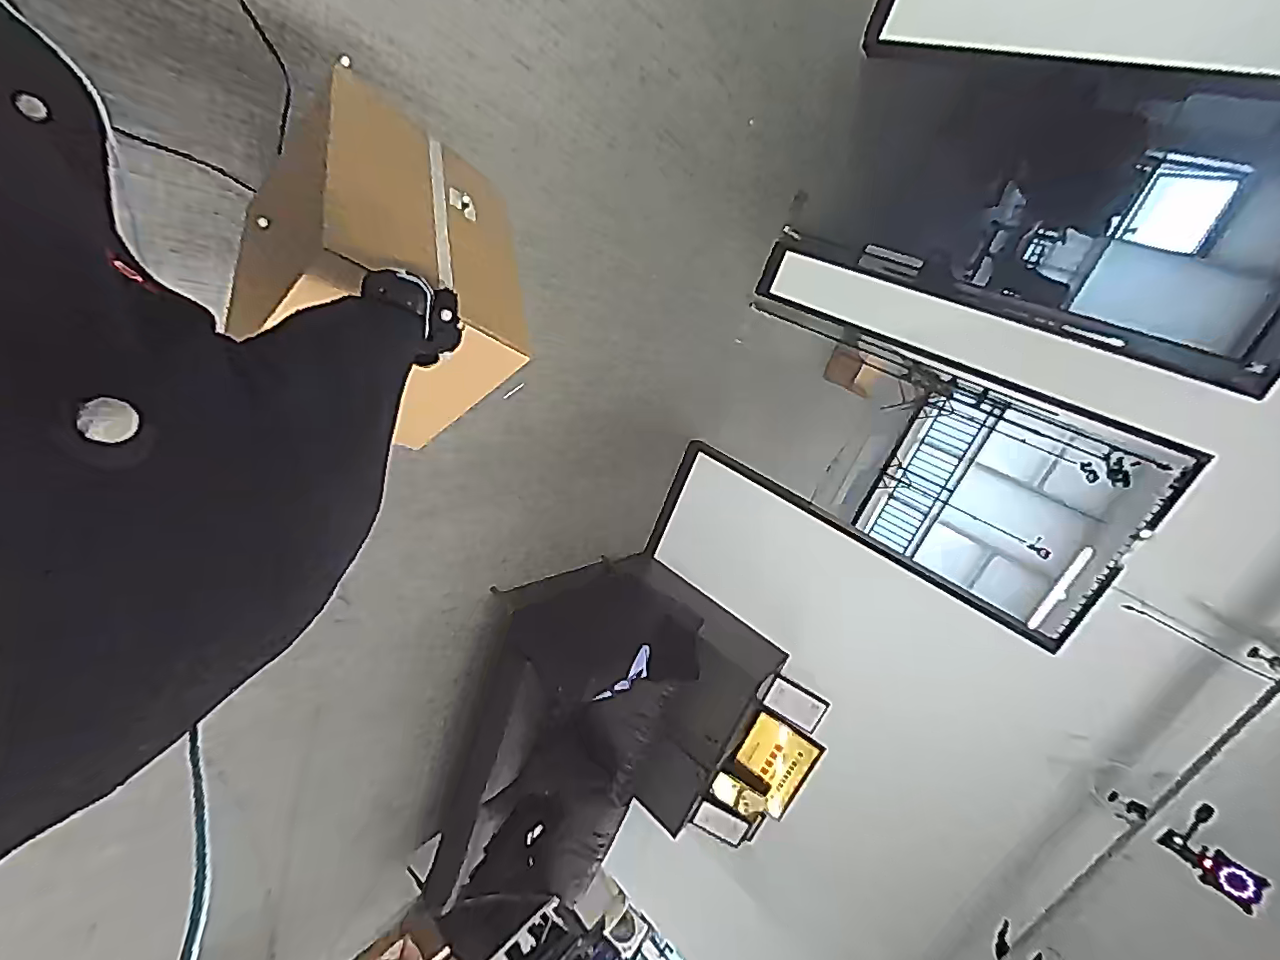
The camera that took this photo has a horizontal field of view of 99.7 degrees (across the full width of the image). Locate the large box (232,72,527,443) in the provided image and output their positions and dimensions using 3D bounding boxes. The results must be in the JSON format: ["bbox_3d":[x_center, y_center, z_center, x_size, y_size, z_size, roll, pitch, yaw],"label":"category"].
[{"bbox_3d":[-0.427,-0.330,0.895,0.320,0.408,0.320,-30,150,28],"label":"large box"}]
